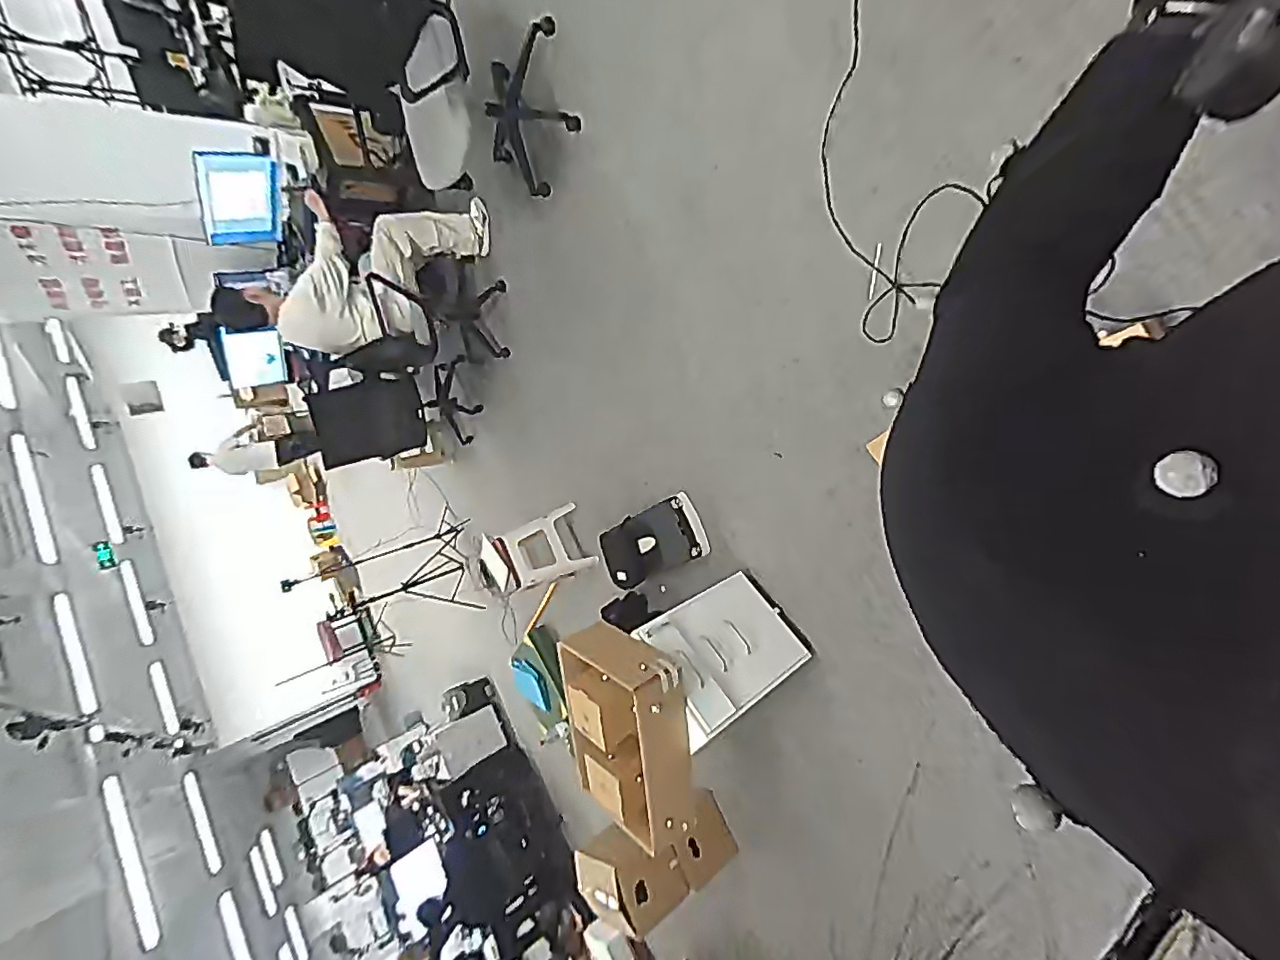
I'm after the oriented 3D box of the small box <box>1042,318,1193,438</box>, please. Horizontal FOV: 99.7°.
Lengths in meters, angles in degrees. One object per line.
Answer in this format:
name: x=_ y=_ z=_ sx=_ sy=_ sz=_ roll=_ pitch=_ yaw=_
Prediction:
small box: x=0.964 y=-0.208 z=1.090 sx=0.168 sy=0.176 sz=0.179 roll=-31 pitch=80 yaw=52
